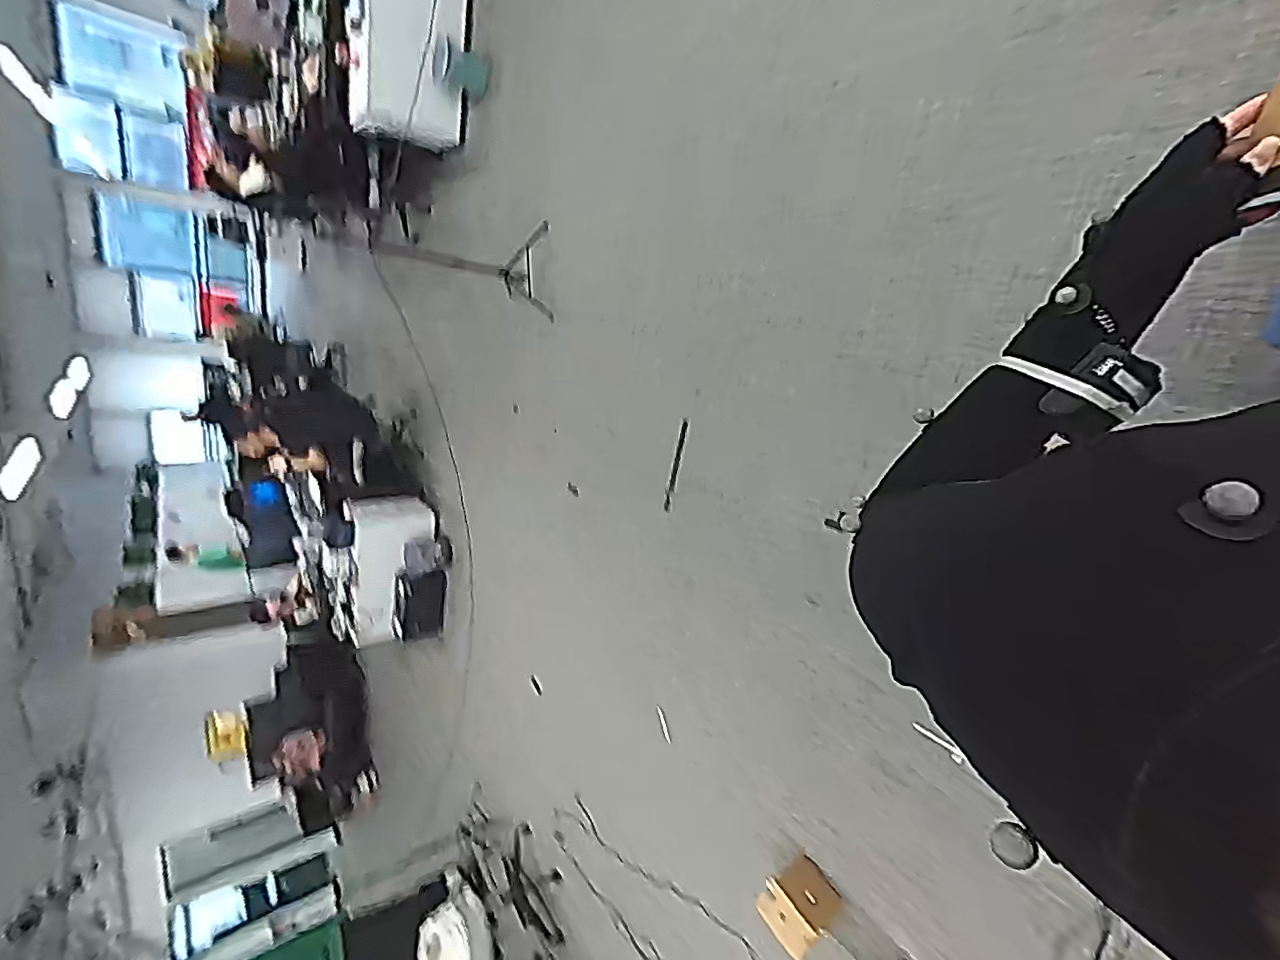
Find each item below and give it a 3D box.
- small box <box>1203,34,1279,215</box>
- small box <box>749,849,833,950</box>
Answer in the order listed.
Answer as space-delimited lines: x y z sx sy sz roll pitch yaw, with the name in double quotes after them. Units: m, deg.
0.465 -0.234 0.262 0.179 0.168 0.176 13 106 11 "small box"
0.504 1.383 1.795 0.179 0.176 0.168 40 122 40 "small box"
